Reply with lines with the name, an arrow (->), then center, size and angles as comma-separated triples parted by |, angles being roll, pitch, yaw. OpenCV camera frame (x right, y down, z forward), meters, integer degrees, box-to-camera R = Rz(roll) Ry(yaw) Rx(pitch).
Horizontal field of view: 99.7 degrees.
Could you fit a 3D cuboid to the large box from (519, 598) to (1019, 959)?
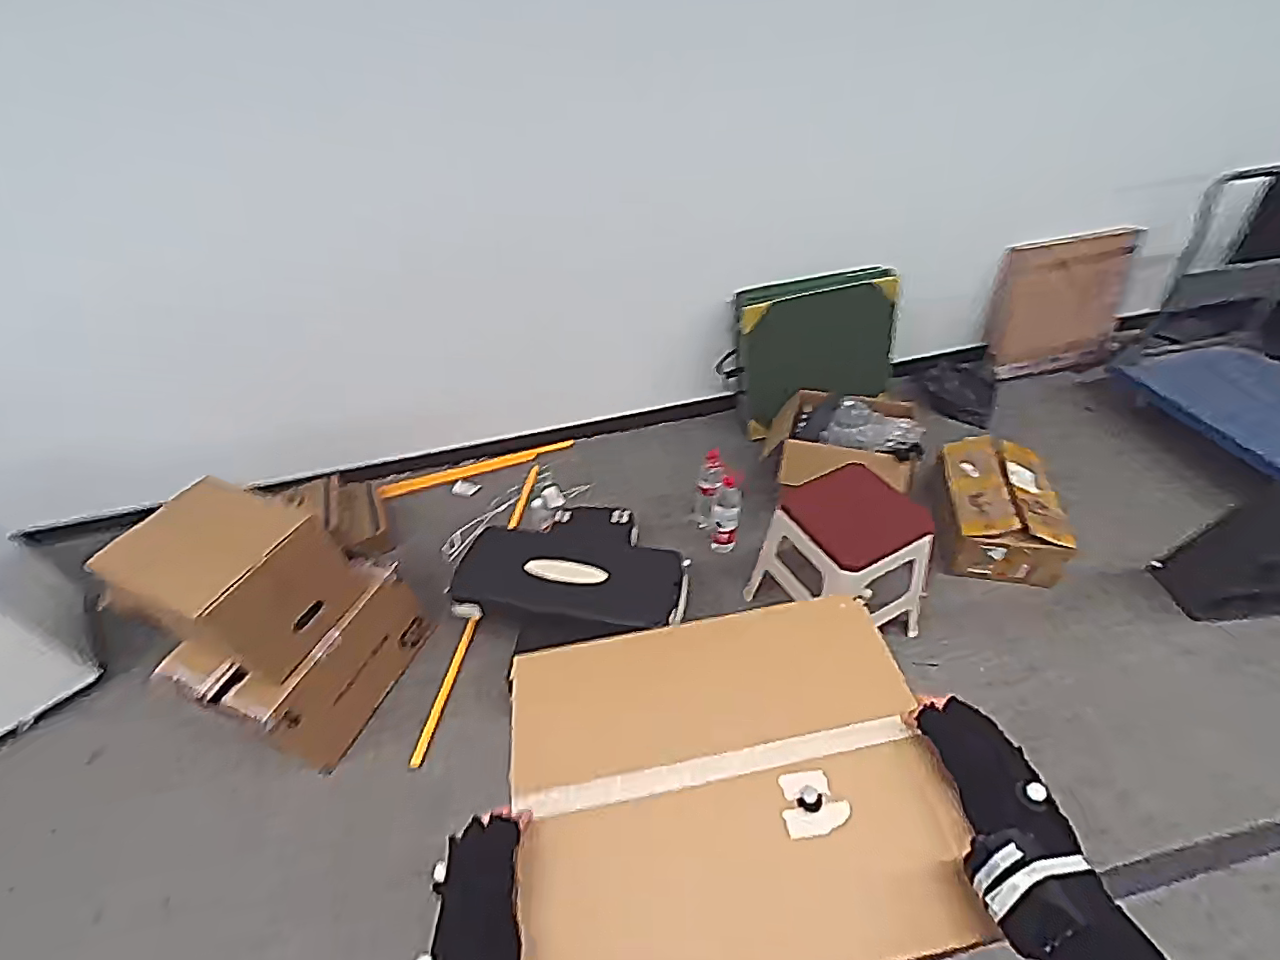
large box -> 0.094, 0.384, 0.619 | 0.408, 0.320, 0.320 | -10, 44, -3
